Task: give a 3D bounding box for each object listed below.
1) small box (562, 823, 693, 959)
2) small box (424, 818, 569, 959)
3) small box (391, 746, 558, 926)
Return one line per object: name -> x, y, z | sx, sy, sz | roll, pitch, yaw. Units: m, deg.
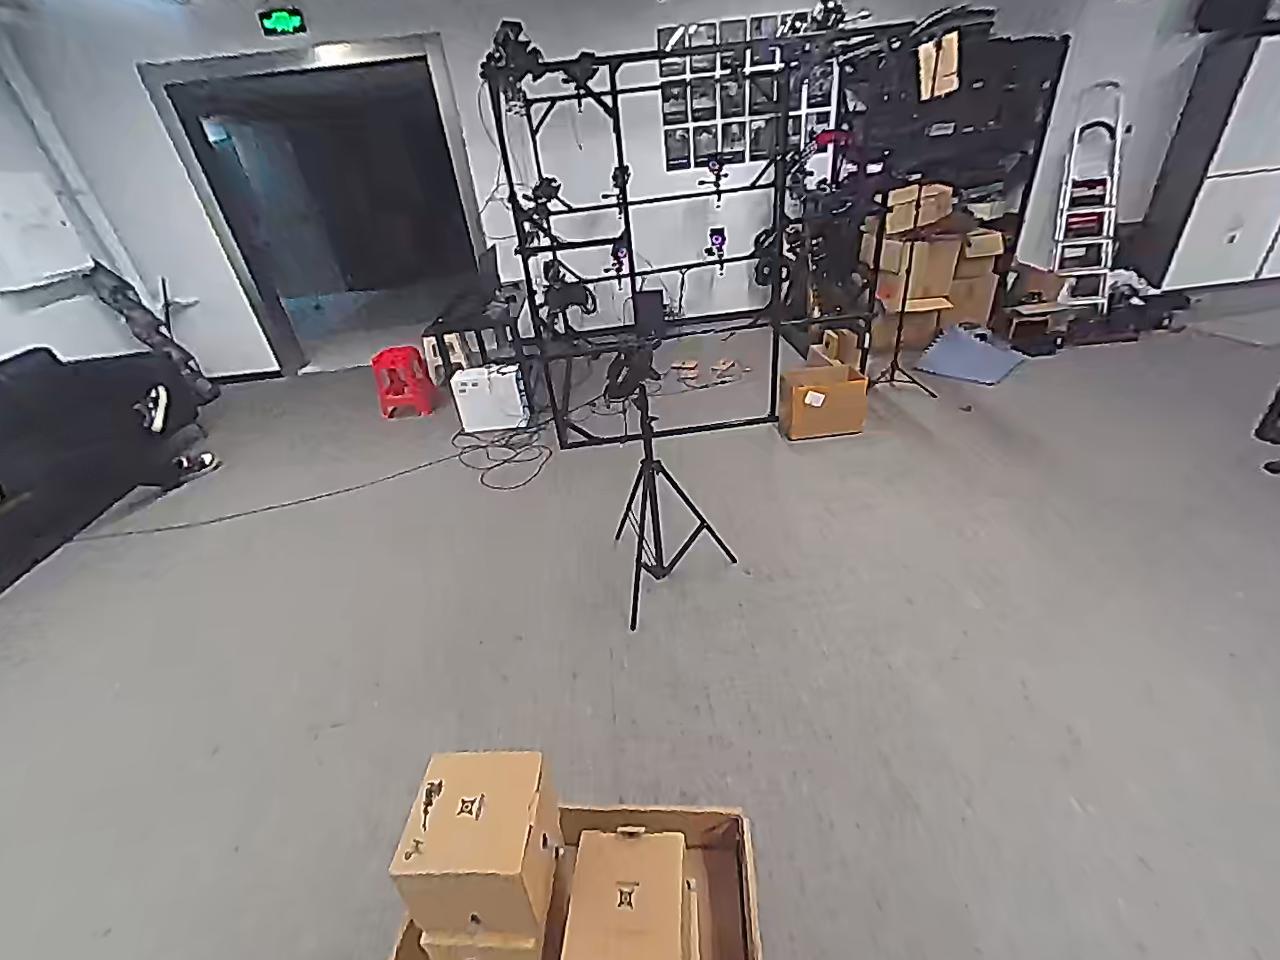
small box -> -0.009, 0.663, 0.827 | 0.168, 0.176, 0.179 | -4, 31, 8
small box -> -0.216, 0.665, 0.869 | 0.168, 0.176, 0.179 | -1, 31, 5
small box -> -0.225, 0.519, 0.794 | 0.179, 0.176, 0.168 | -1, 30, 4
